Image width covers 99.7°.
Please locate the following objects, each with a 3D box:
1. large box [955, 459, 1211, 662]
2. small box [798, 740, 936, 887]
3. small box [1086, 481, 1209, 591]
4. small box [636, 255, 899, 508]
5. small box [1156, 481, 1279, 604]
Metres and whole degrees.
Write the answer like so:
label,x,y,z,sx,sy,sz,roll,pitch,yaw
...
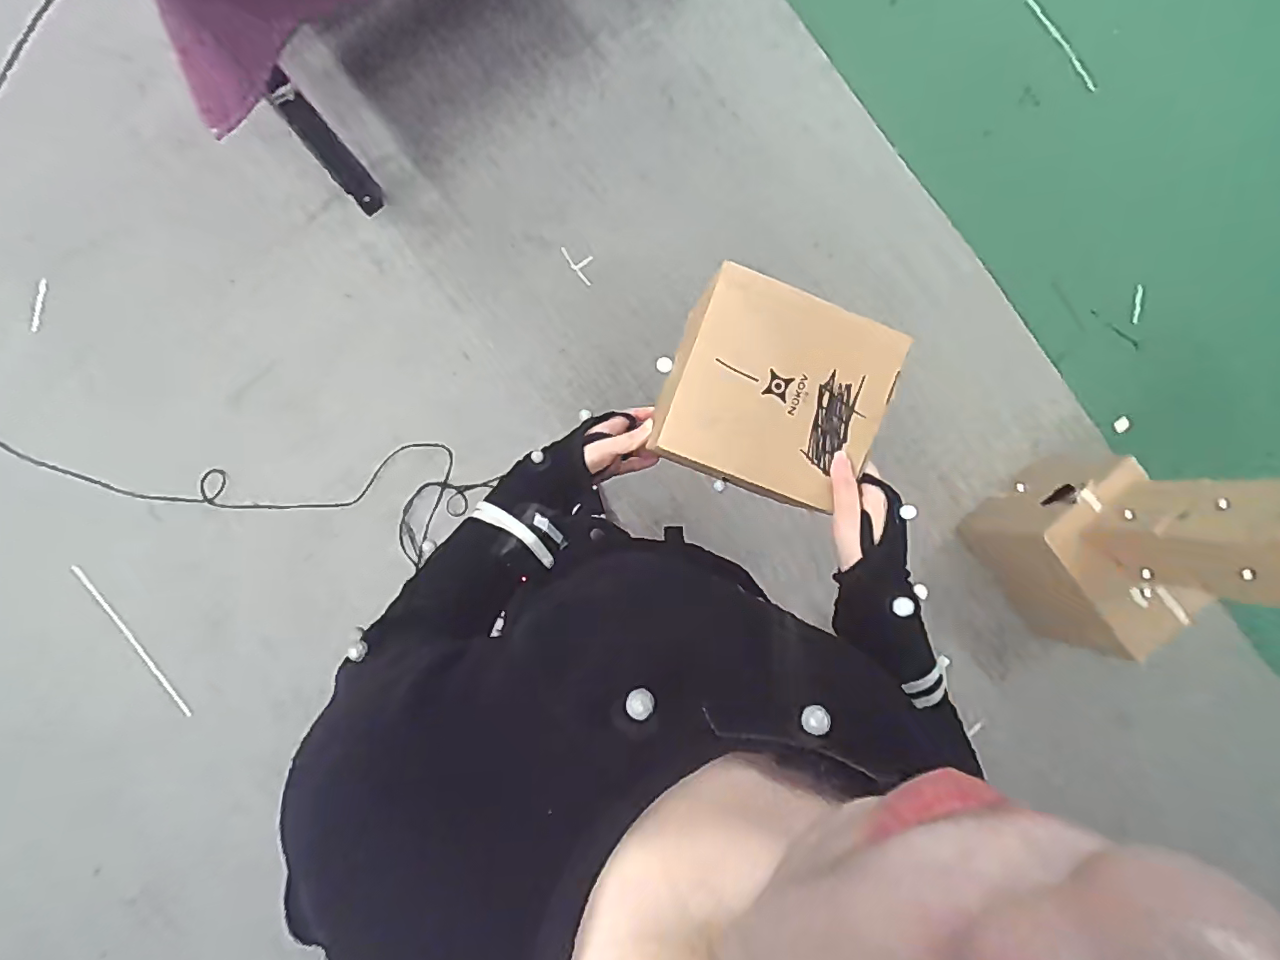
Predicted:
label,x,y,z,sx,sy,sz,roll,pitch,yaw
large box,1.164,0.197,1.449,0.320,0.320,0.408,-38,92,-5
small box,0.461,0.675,1.127,0.168,0.176,0.179,-31,93,-5
small box,1.156,0.122,1.206,0.179,0.176,0.168,-39,92,-6
small box,0.107,-0.085,0.531,0.179,0.176,0.168,20,91,-5
small box,1.174,0.121,1.043,0.168,0.176,0.179,-43,93,-5
